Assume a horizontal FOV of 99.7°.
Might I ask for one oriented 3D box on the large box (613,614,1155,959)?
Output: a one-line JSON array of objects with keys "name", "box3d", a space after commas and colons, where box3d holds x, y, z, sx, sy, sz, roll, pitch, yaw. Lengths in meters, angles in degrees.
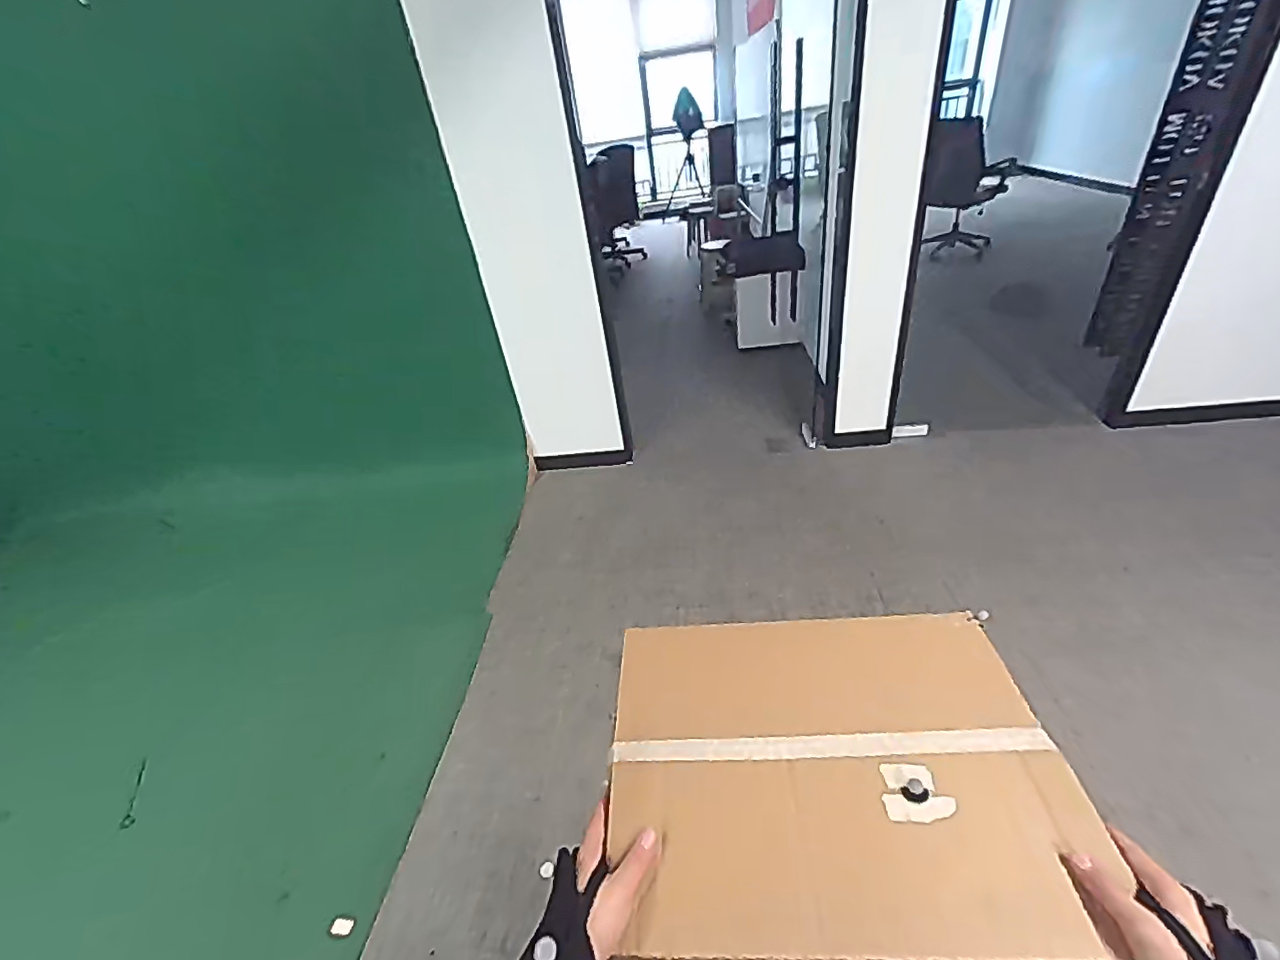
[{"name": "large box", "box3d": [0.193, 0.379, 0.605, 0.408, 0.320, 0.320, -4, 35, 5]}]
